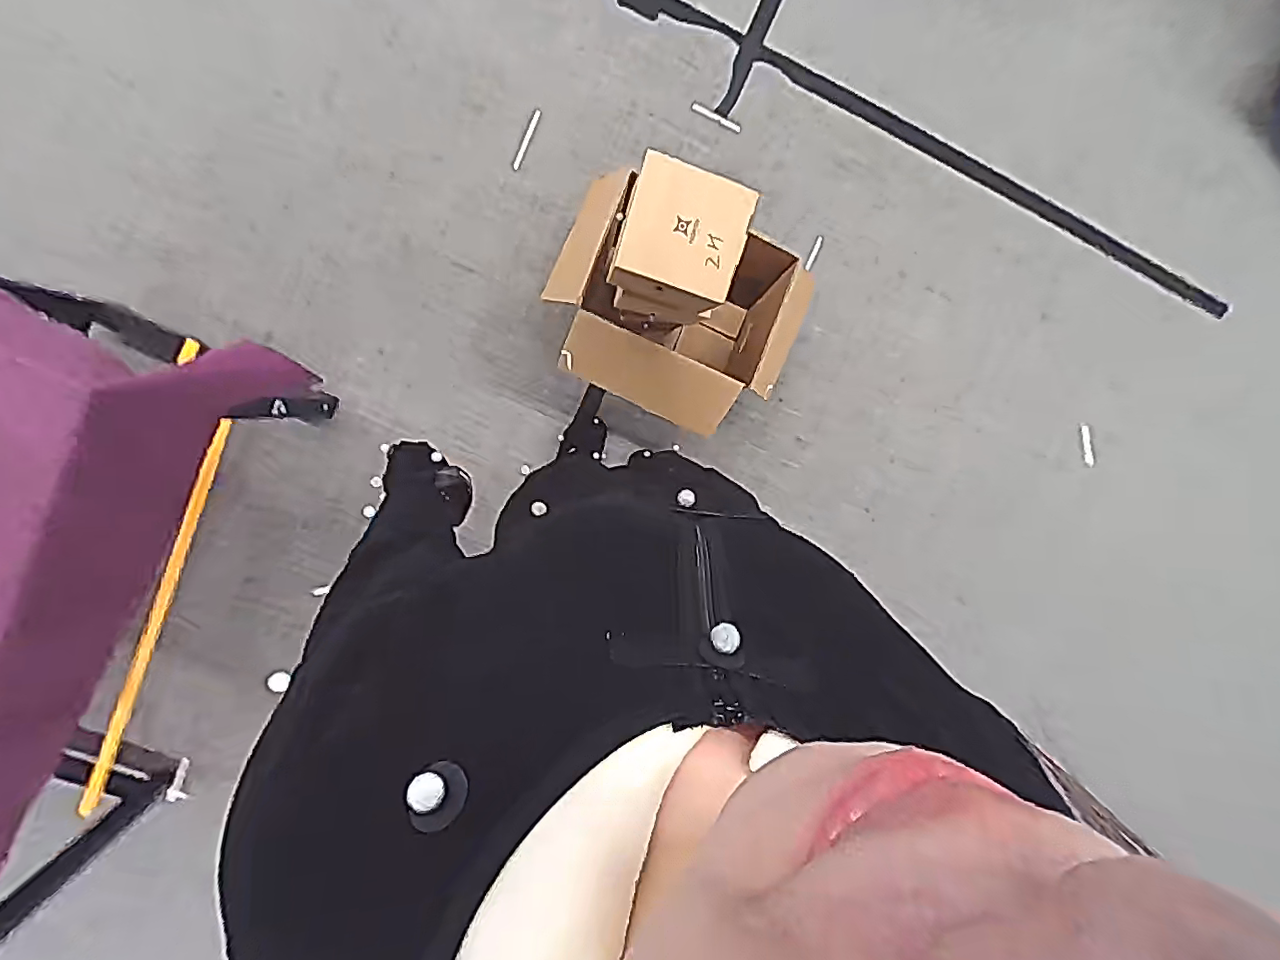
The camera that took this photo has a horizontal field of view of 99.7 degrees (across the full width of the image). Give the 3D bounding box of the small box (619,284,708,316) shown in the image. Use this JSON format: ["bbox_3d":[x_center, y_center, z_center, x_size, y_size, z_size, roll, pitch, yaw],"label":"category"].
[{"bbox_3d":[0.050,-0.456,1.180,0.179,0.176,0.168,2,101,-9],"label":"small box"}]

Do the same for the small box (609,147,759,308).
[{"bbox_3d":[0.057,-0.382,0.857,0.179,0.176,0.168,16,100,-11],"label":"small box"}]
